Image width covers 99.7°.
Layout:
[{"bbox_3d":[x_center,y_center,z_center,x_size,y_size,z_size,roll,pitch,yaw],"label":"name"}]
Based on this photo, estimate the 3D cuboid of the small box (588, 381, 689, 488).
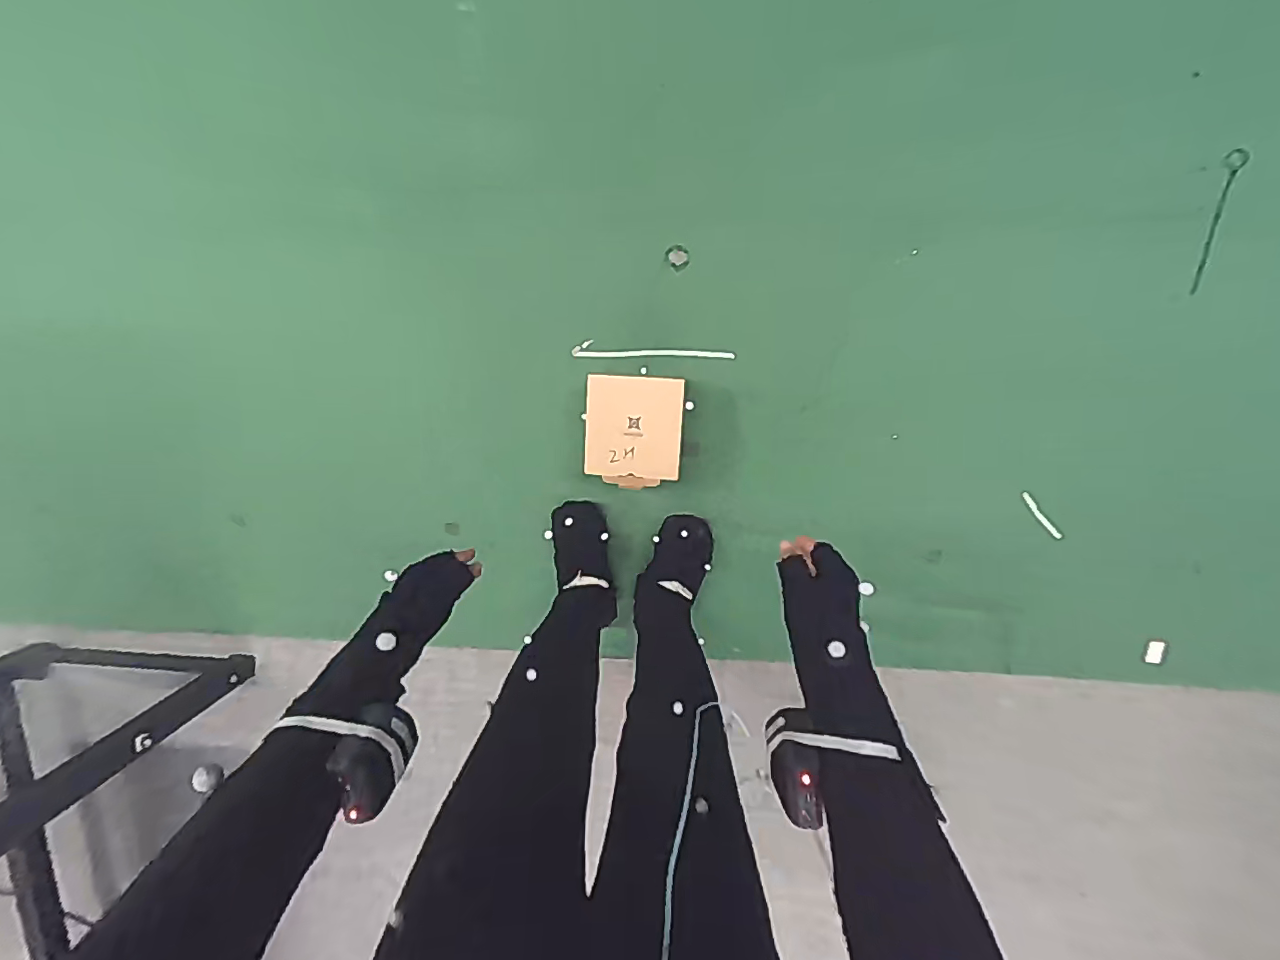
[{"bbox_3d":[0.002,-0.091,1.000,0.168,0.176,0.179,4,101,5],"label":"small box"}]
